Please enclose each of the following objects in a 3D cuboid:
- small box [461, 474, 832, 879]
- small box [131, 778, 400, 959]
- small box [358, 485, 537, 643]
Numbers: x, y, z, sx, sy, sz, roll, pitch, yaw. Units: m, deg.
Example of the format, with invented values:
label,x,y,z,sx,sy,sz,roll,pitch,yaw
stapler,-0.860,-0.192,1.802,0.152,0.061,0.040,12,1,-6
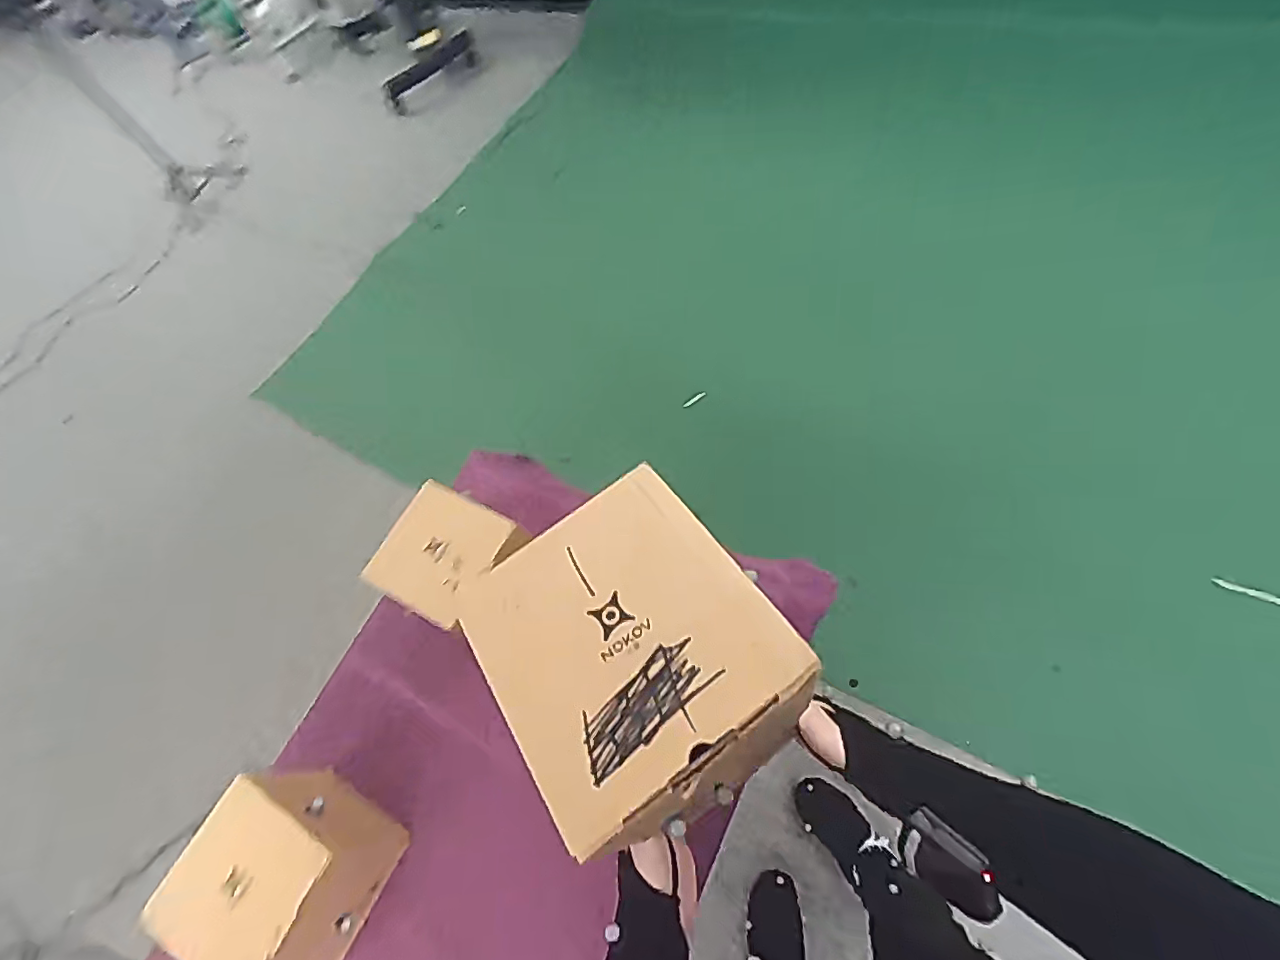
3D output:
label,x,y,z,sx,sy,sz,roll,pitch,yaw
small box,0.010,0.135,0.387,0.168,0.176,0.179,-34,58,-7
small box,-0.448,0.500,0.675,0.179,0.176,0.168,22,68,19
small box,-0.274,0.137,0.825,0.179,0.176,0.168,23,71,20
